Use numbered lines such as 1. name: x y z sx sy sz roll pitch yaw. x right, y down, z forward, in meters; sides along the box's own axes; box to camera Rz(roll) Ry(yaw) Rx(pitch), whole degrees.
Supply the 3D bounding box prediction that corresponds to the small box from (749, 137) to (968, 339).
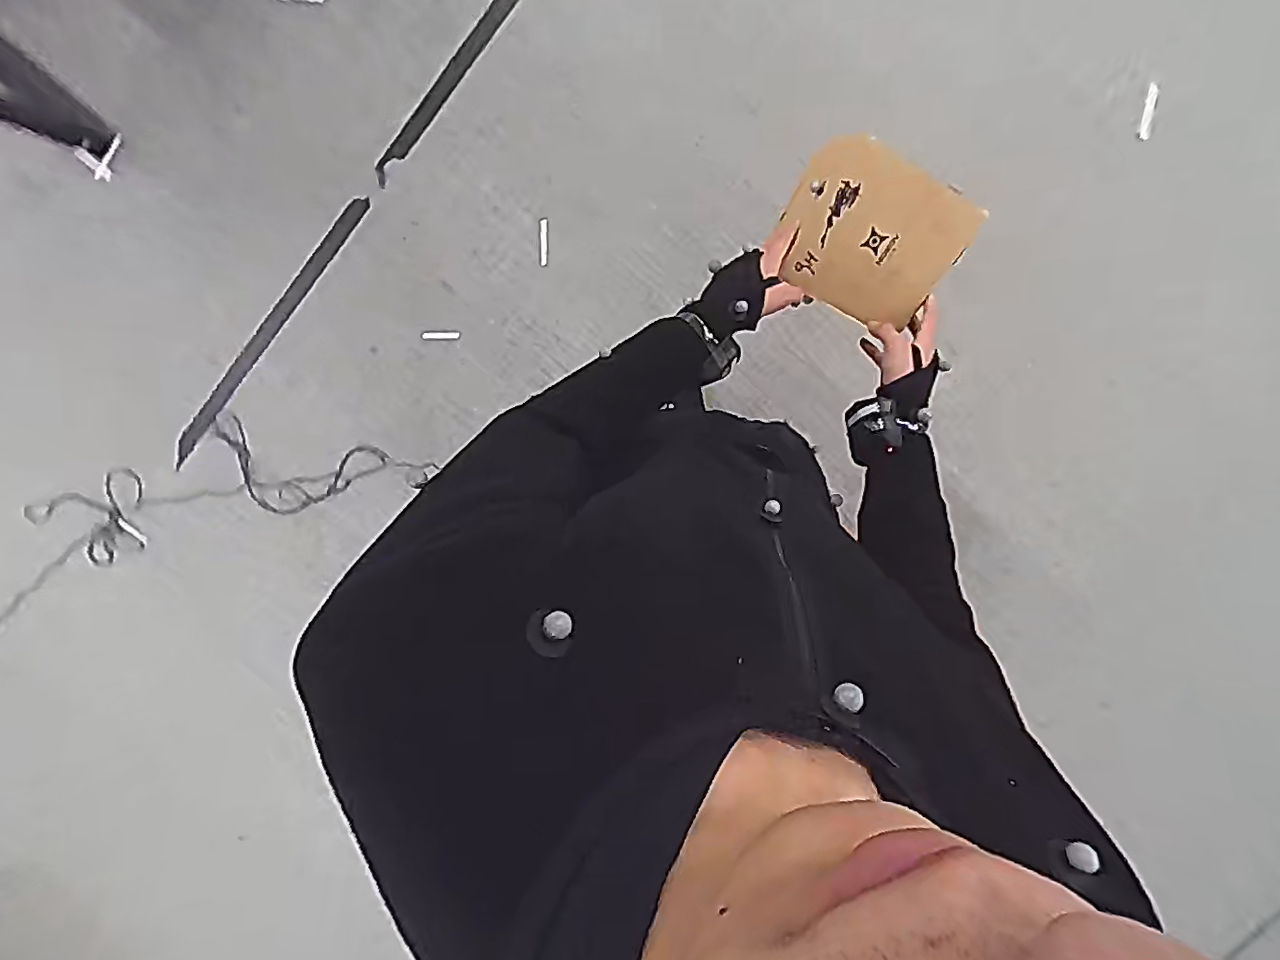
1. small box: 0.263 -0.313 0.698 0.179 0.176 0.168 25 118 -11
